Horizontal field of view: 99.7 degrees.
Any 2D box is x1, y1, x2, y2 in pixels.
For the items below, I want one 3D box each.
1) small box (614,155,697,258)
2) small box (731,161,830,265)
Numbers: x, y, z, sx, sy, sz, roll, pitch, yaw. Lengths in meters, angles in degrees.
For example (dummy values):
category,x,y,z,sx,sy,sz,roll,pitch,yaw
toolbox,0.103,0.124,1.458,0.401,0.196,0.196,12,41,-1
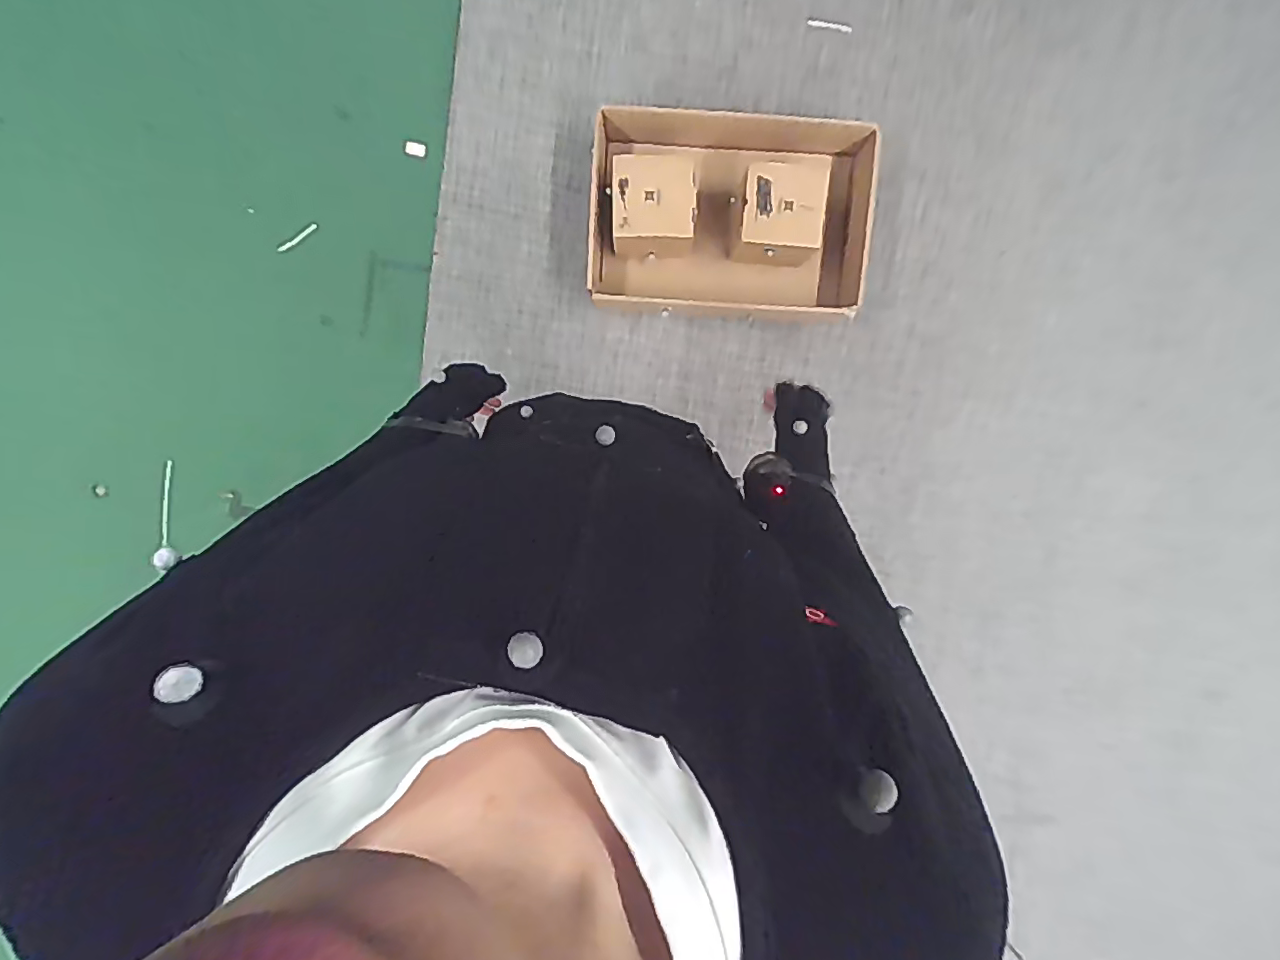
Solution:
category,x,y,z,sx,sy,sz,roll,pitch,yaw
small box,0.031,-0.615,1.233,0.179,0.176,0.168,0,98,-1
small box,0.311,-0.600,1.234,0.179,0.176,0.168,5,99,0
